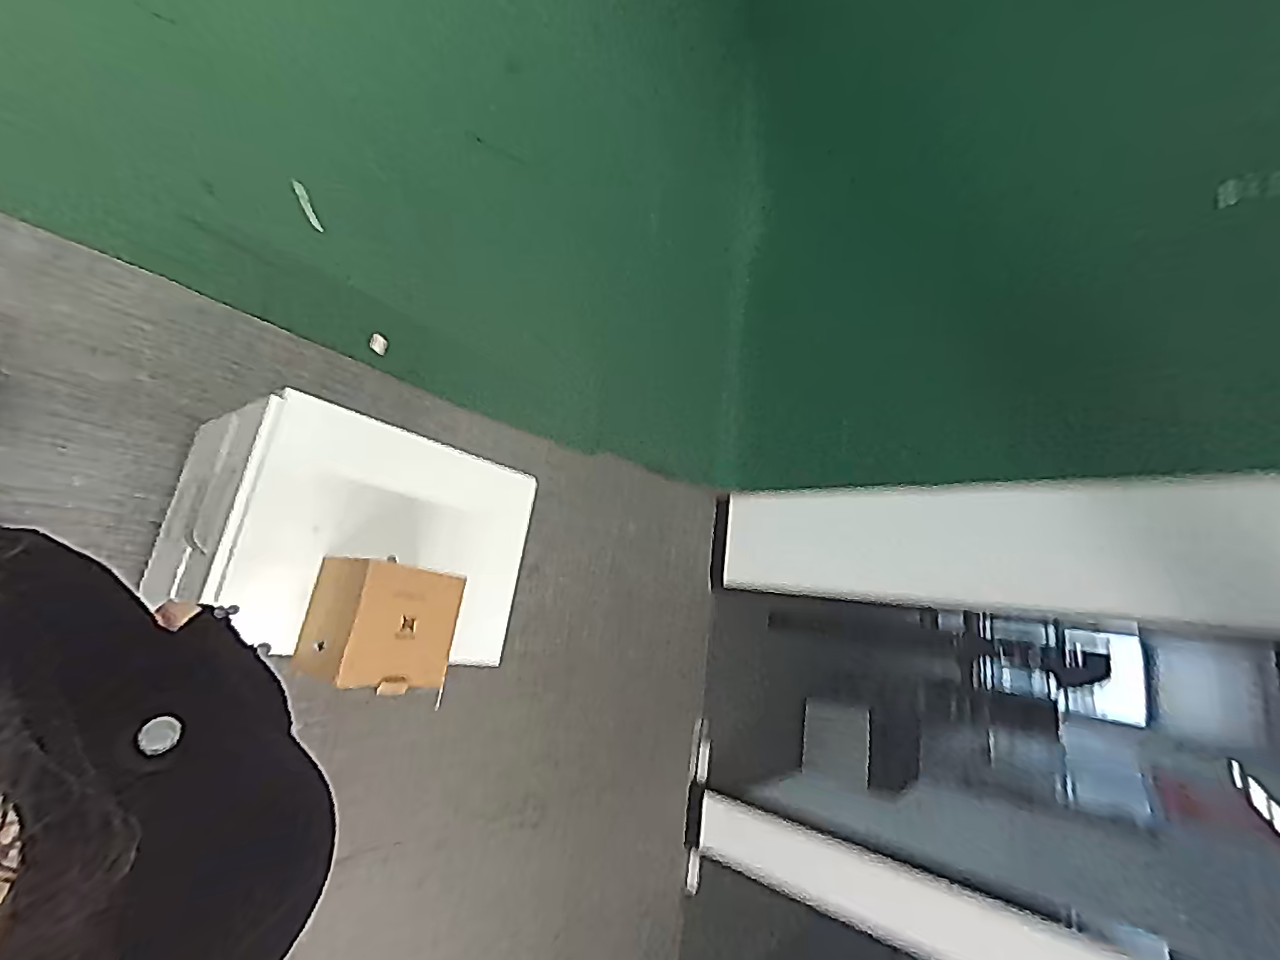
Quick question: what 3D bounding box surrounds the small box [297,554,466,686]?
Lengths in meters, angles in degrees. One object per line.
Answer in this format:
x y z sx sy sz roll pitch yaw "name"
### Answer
-0.410 0.219 0.857 0.168 0.176 0.179 26 66 -48 "small box"
